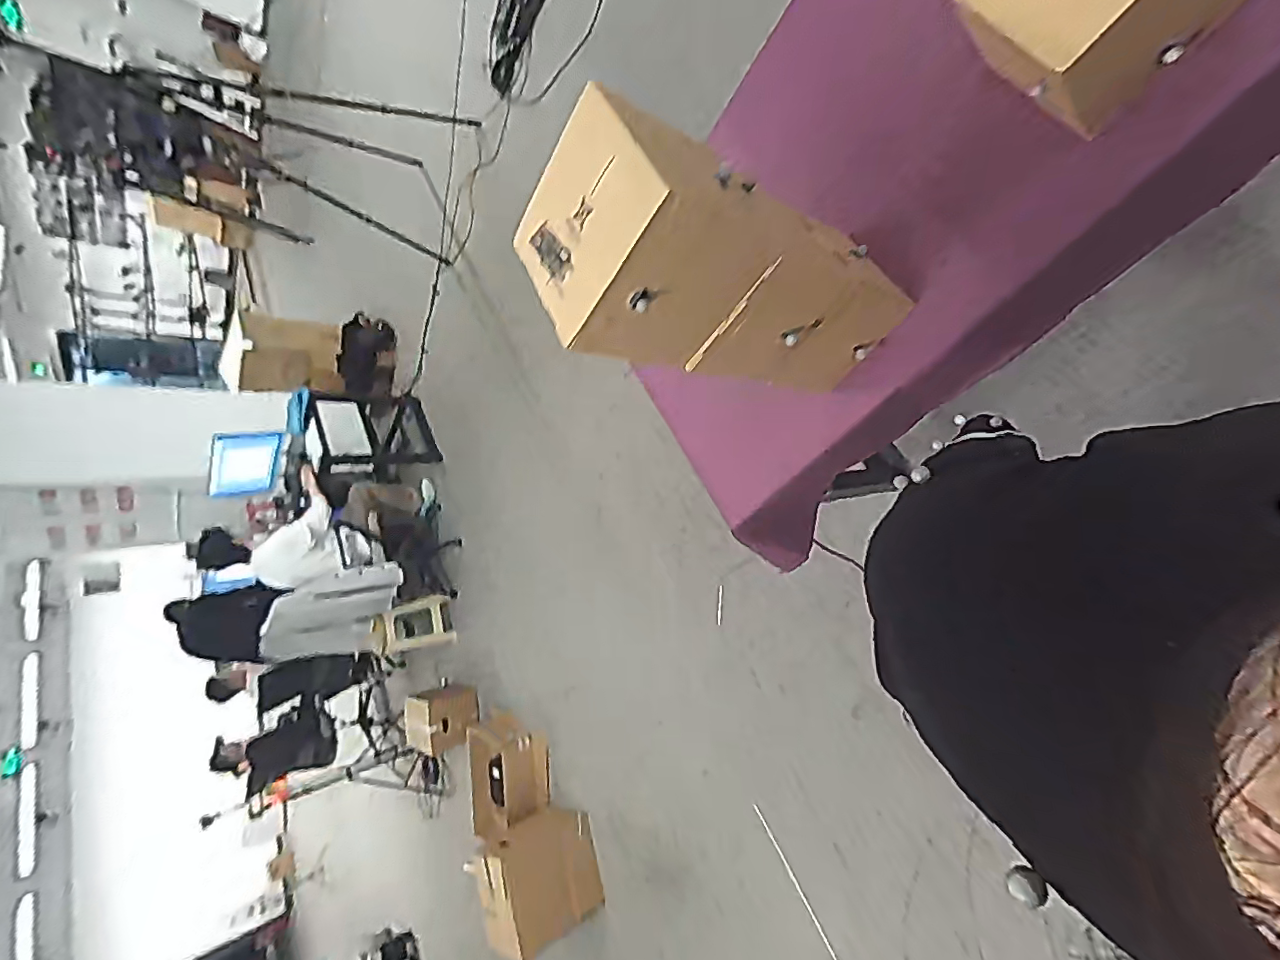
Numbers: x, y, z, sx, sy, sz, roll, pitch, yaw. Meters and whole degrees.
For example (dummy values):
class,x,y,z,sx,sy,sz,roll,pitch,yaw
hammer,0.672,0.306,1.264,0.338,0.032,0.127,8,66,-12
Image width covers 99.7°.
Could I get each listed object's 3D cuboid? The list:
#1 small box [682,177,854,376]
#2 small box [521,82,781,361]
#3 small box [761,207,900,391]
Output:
class,x,y,z,sx,sy,sz,roll,pitch,yaw
small box,0.125,-0.247,0.675,0.168,0.176,0.179,-48,60,37
small box,0.008,-0.244,0.558,0.179,0.176,0.168,-45,61,37
small box,0.246,-0.250,0.787,0.179,0.176,0.168,-49,58,36
